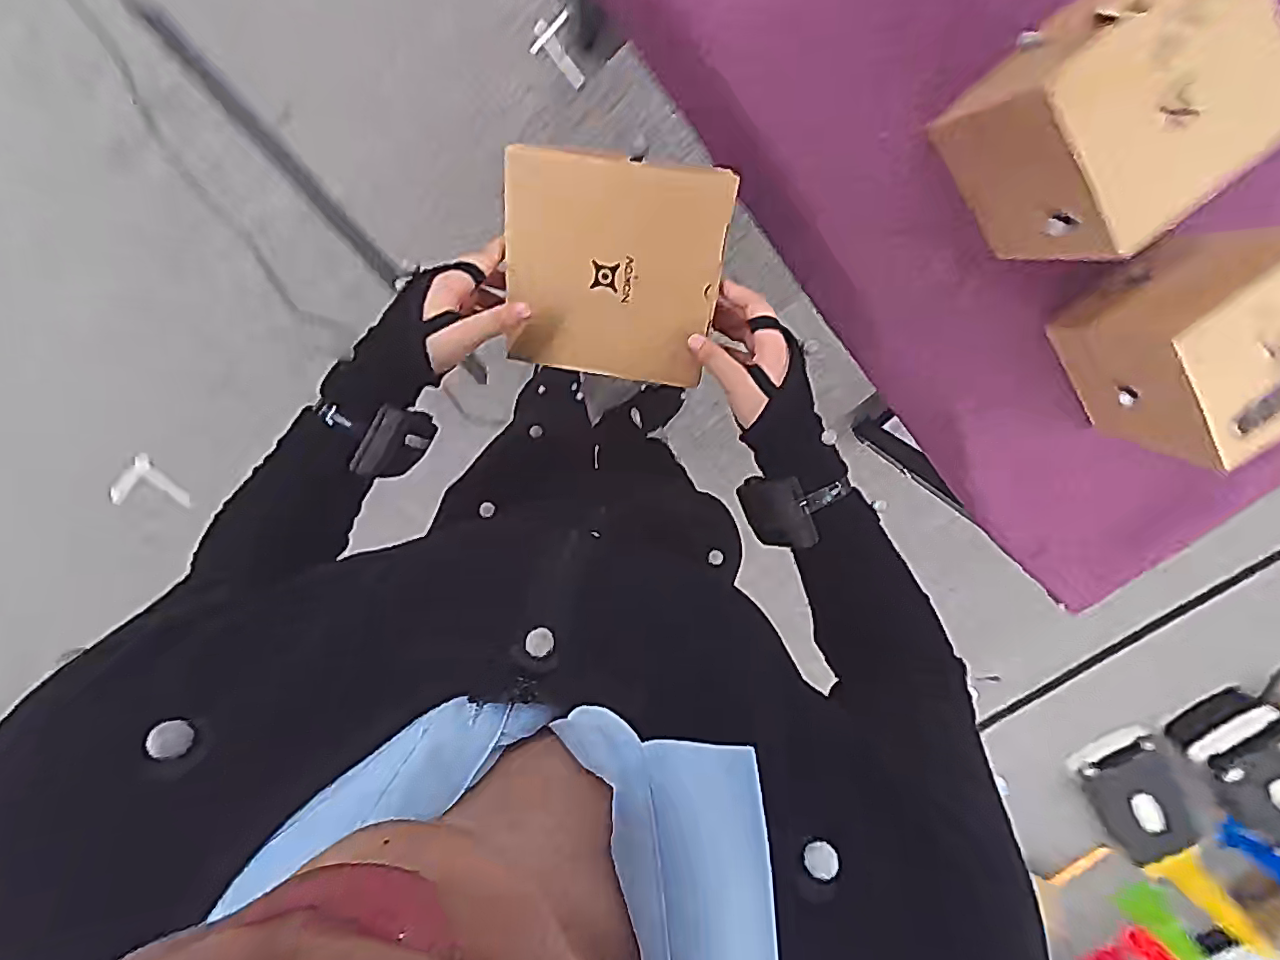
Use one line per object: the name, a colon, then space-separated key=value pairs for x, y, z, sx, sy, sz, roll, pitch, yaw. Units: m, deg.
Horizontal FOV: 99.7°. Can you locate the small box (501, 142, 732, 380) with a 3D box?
small box: x=-0.018 y=-0.208 z=0.508 sx=0.179 sy=0.176 sz=0.168 roll=7 pitch=121 yaw=2

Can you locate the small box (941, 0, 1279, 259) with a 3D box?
small box: x=0.436 y=-0.337 z=0.513 sx=0.168 sy=0.176 sz=0.179 roll=-40 pitch=109 yaw=12
